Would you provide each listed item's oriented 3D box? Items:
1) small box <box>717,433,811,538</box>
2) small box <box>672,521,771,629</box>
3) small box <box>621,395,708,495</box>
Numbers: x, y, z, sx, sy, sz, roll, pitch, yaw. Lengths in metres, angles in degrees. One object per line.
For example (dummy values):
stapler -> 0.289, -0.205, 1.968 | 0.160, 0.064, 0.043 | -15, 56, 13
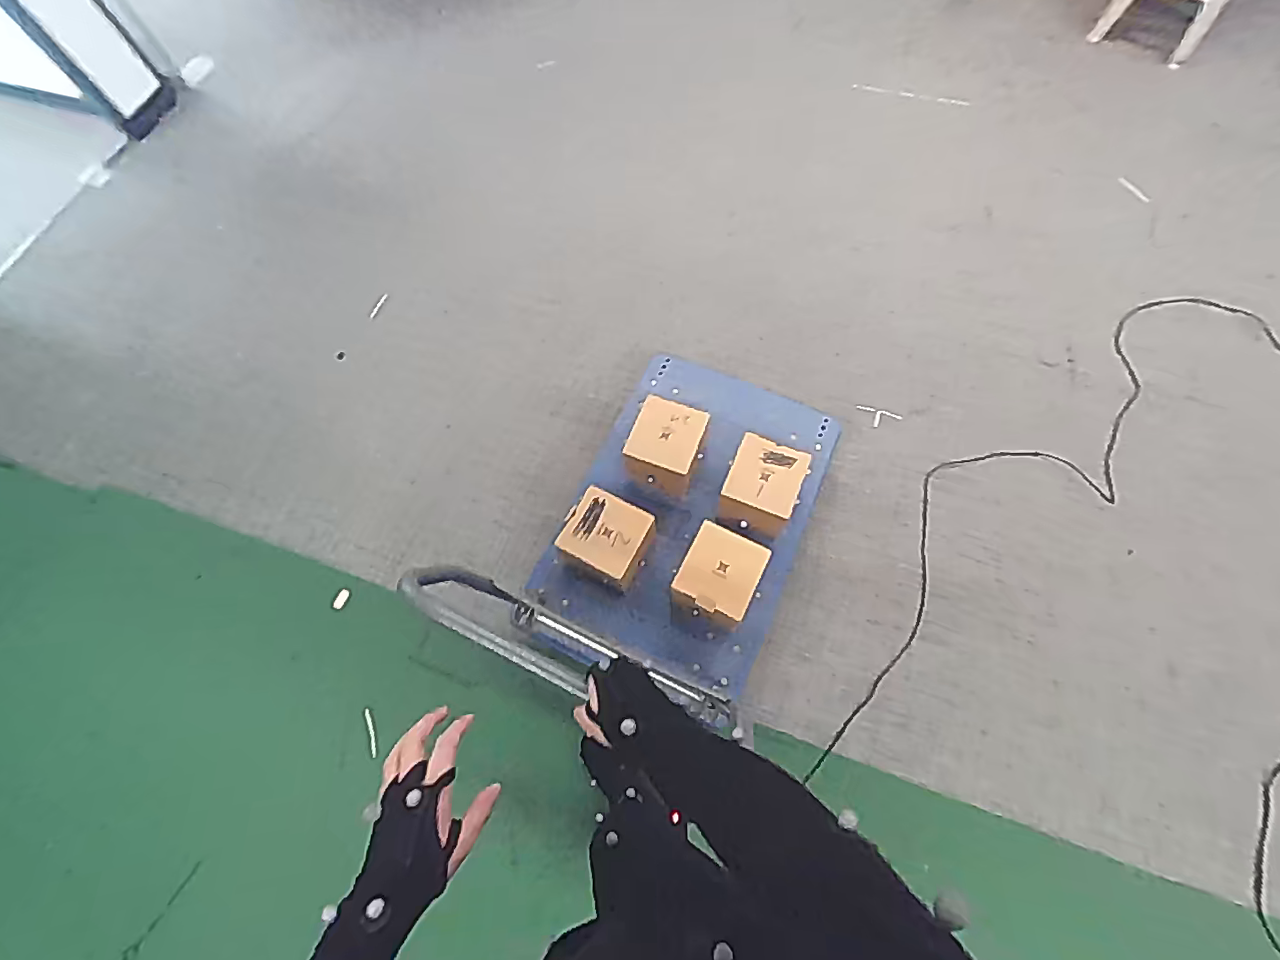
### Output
small box -> 0.295, 0.017, 1.325 | 0.168, 0.176, 0.179 | 22, 72, 12
small box -> 0.180, 0.224, 1.250 | 0.168, 0.176, 0.179 | 25, 73, 12
small box -> 0.065, -0.082, 1.375 | 0.168, 0.176, 0.179 | 20, 70, 10
